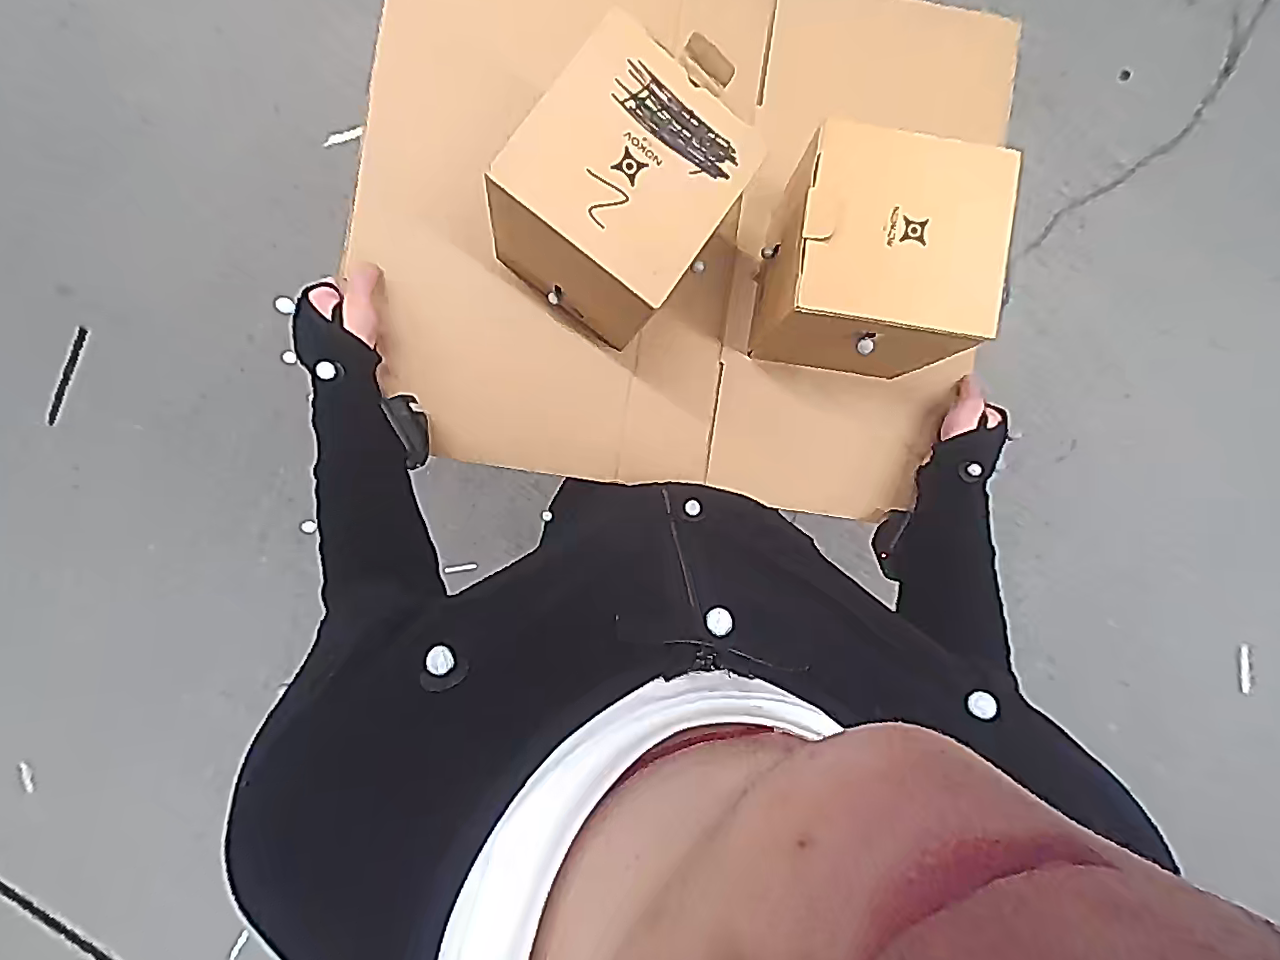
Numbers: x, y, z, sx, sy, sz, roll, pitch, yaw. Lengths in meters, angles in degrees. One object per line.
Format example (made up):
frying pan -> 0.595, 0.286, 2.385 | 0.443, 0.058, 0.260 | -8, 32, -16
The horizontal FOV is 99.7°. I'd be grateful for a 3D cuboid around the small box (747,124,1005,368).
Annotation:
small box -> 0.223, -0.218, 0.554 | 0.179, 0.176, 0.168 | 8, 89, -2
